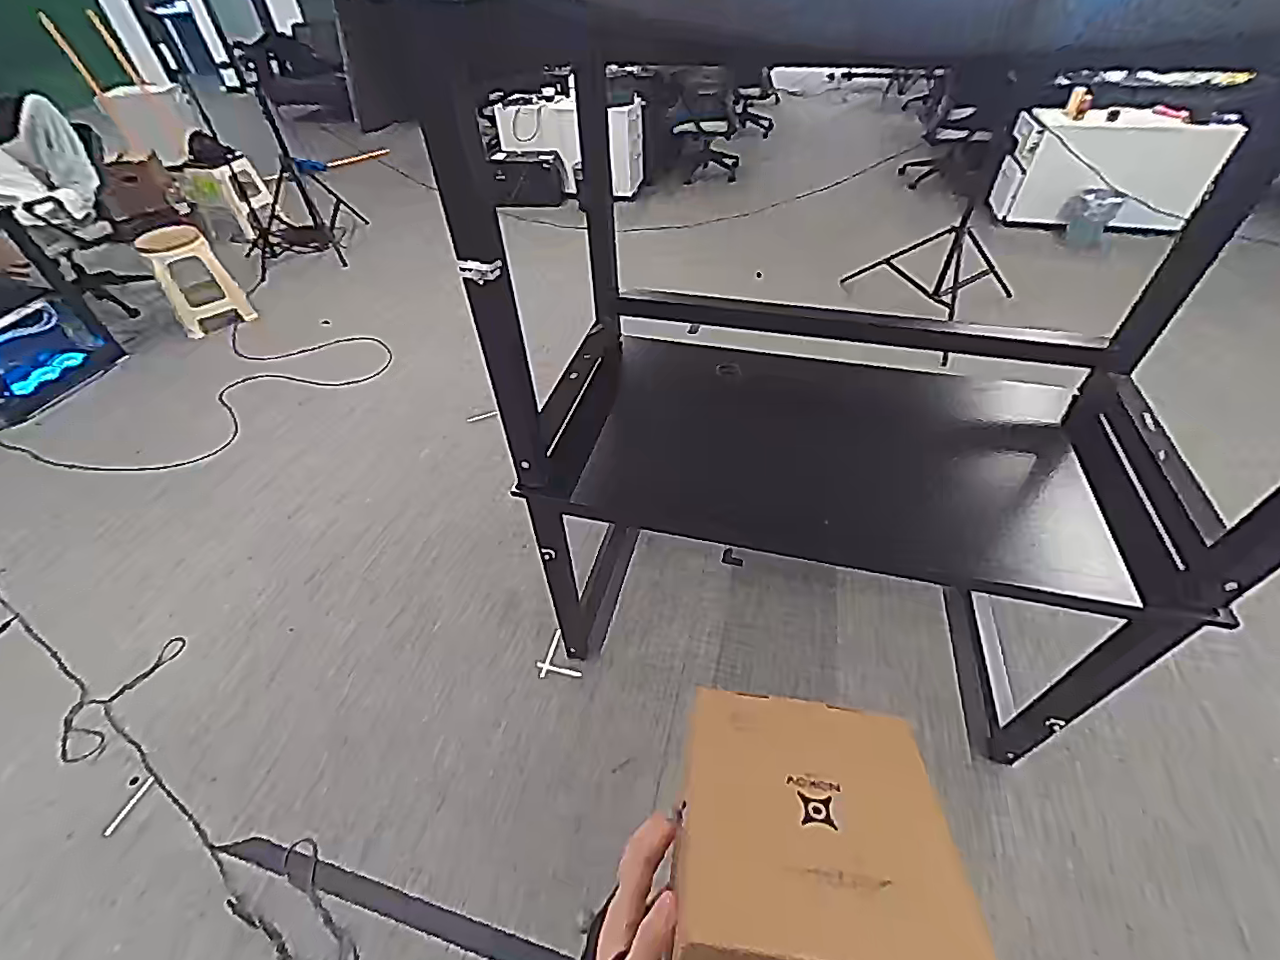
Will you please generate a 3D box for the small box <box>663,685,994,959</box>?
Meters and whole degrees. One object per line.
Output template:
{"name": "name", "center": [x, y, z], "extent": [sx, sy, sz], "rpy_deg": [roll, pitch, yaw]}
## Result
{"name": "small box", "center": [0.107, 0.283, 0.386], "extent": [0.168, 0.176, 0.179], "rpy_deg": [6, 27, 4]}
